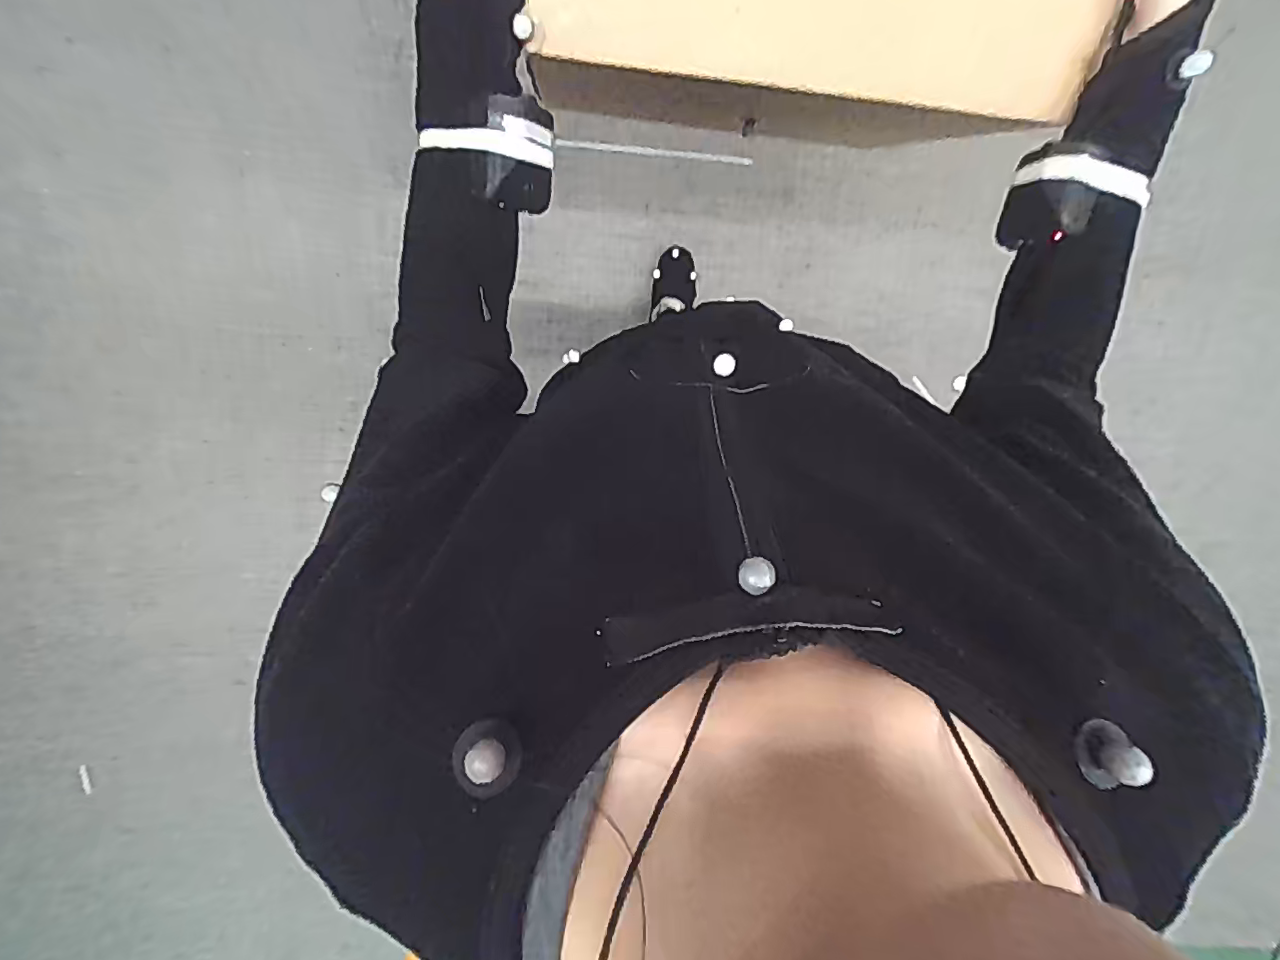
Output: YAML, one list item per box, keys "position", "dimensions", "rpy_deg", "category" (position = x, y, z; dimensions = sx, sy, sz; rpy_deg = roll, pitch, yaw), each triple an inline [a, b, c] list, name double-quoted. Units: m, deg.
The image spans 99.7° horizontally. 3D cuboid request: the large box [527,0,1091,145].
- position: [0.118, -0.482, 0.456]
  dimensions: [0.408, 0.320, 0.320]
  rpy_deg: [1, 117, -7]
  category: "large box"
